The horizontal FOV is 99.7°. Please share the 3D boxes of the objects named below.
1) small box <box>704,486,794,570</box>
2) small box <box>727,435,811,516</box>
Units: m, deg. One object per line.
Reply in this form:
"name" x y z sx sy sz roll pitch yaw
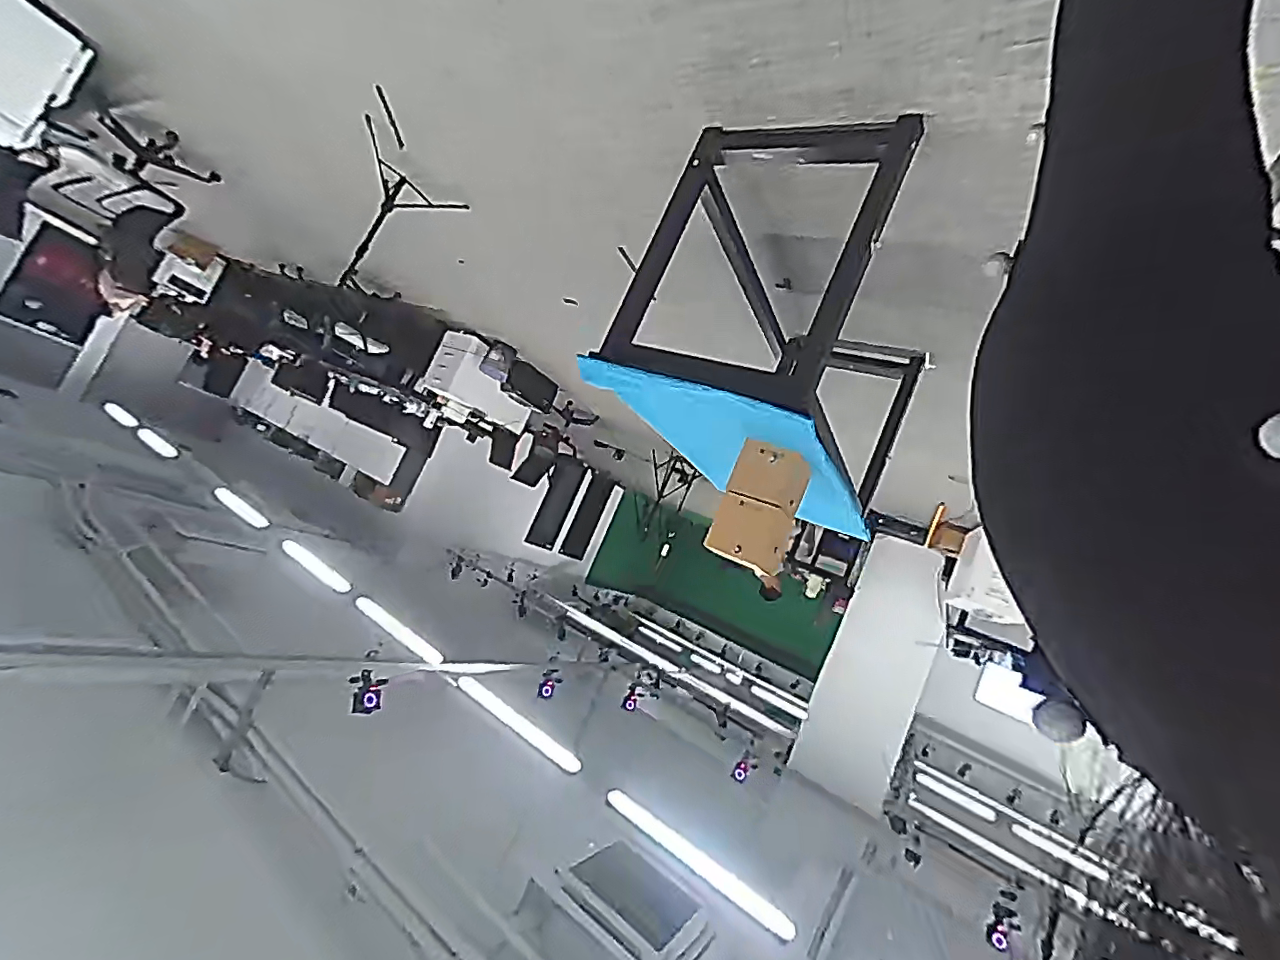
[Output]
"small box" 0.316 0.136 1.536 0.168 0.176 0.179 20 172 36
"small box" 0.379 -0.012 1.563 0.168 0.176 0.179 20 173 32
